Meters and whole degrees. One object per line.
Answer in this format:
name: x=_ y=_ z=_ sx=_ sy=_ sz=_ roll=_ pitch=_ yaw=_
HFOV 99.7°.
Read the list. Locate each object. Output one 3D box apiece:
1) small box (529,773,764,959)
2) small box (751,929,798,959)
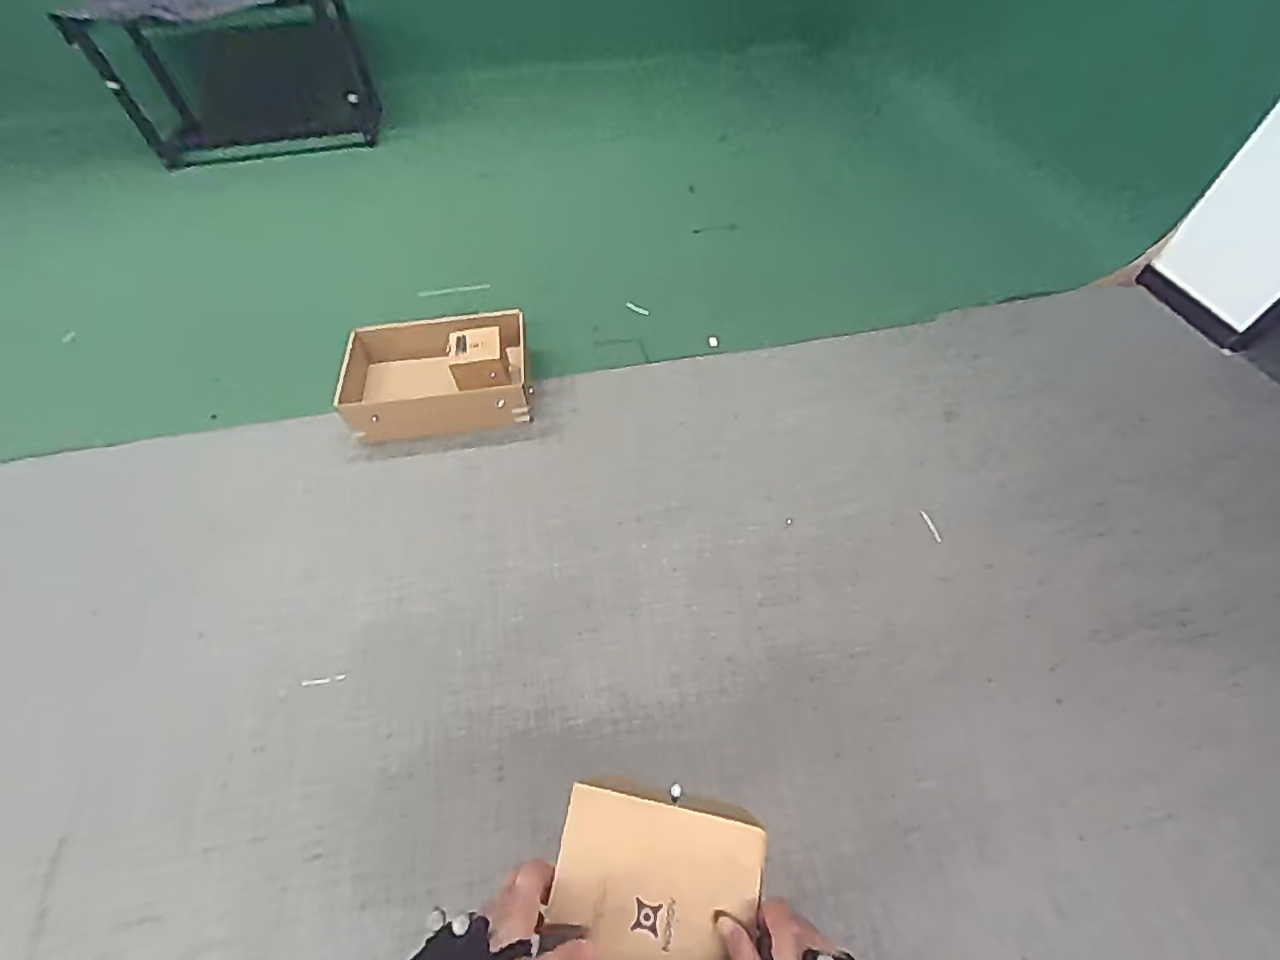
small box: x=0.009 y=0.388 z=0.512 sx=0.179 sy=0.176 sz=0.168 roll=9 pitch=65 yaw=8
small box: x=0.205 y=0.937 z=0.976 sx=0.168 sy=0.176 sz=0.179 roll=-9 pitch=54 yaw=-5
